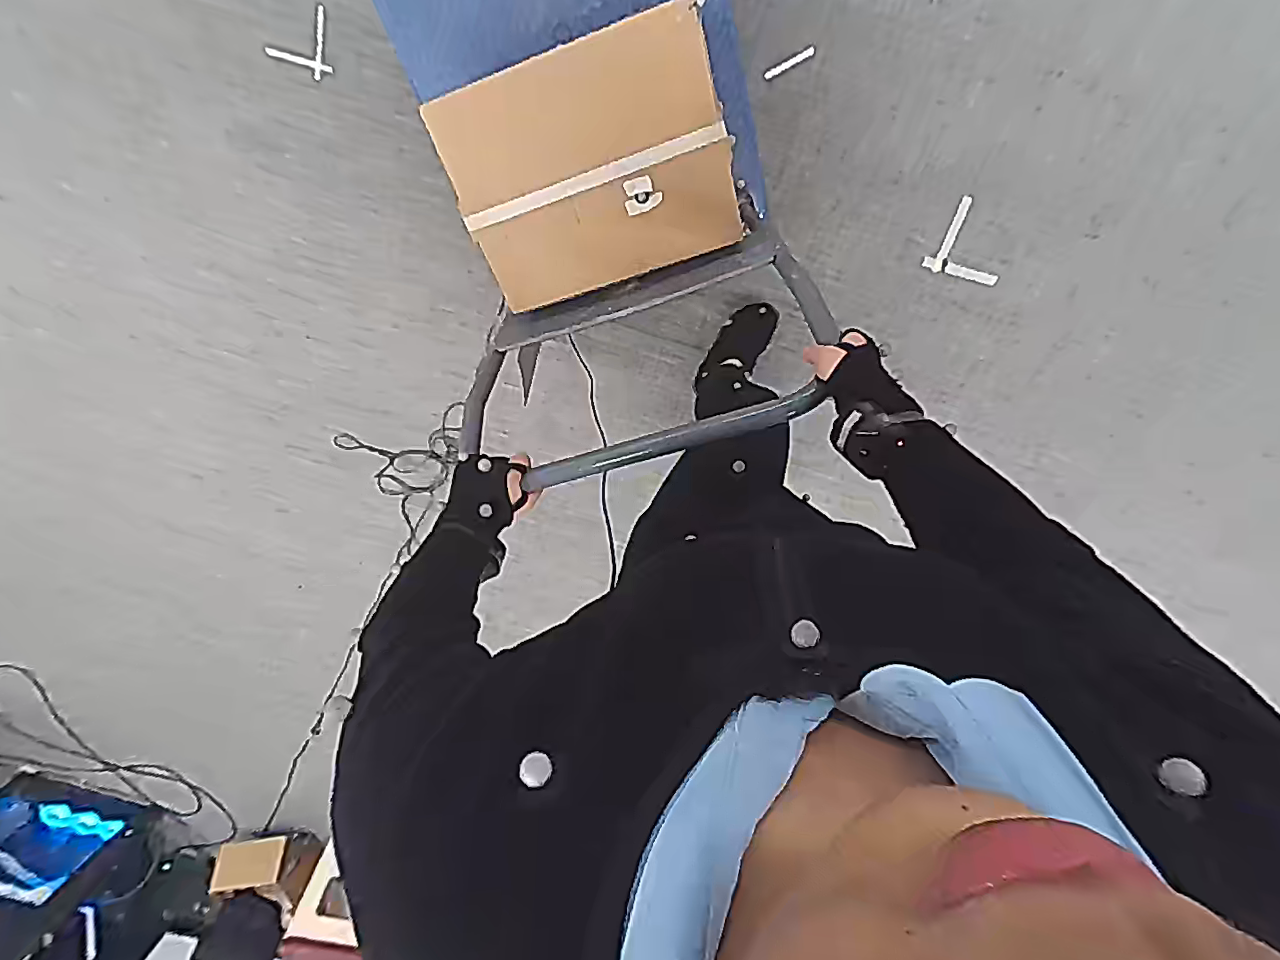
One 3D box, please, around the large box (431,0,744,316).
[{"bbox_3d":[-0.069,-0.536,0.938,0.408,0.320,0.320,-15,124,10],"label":"large box"}]
